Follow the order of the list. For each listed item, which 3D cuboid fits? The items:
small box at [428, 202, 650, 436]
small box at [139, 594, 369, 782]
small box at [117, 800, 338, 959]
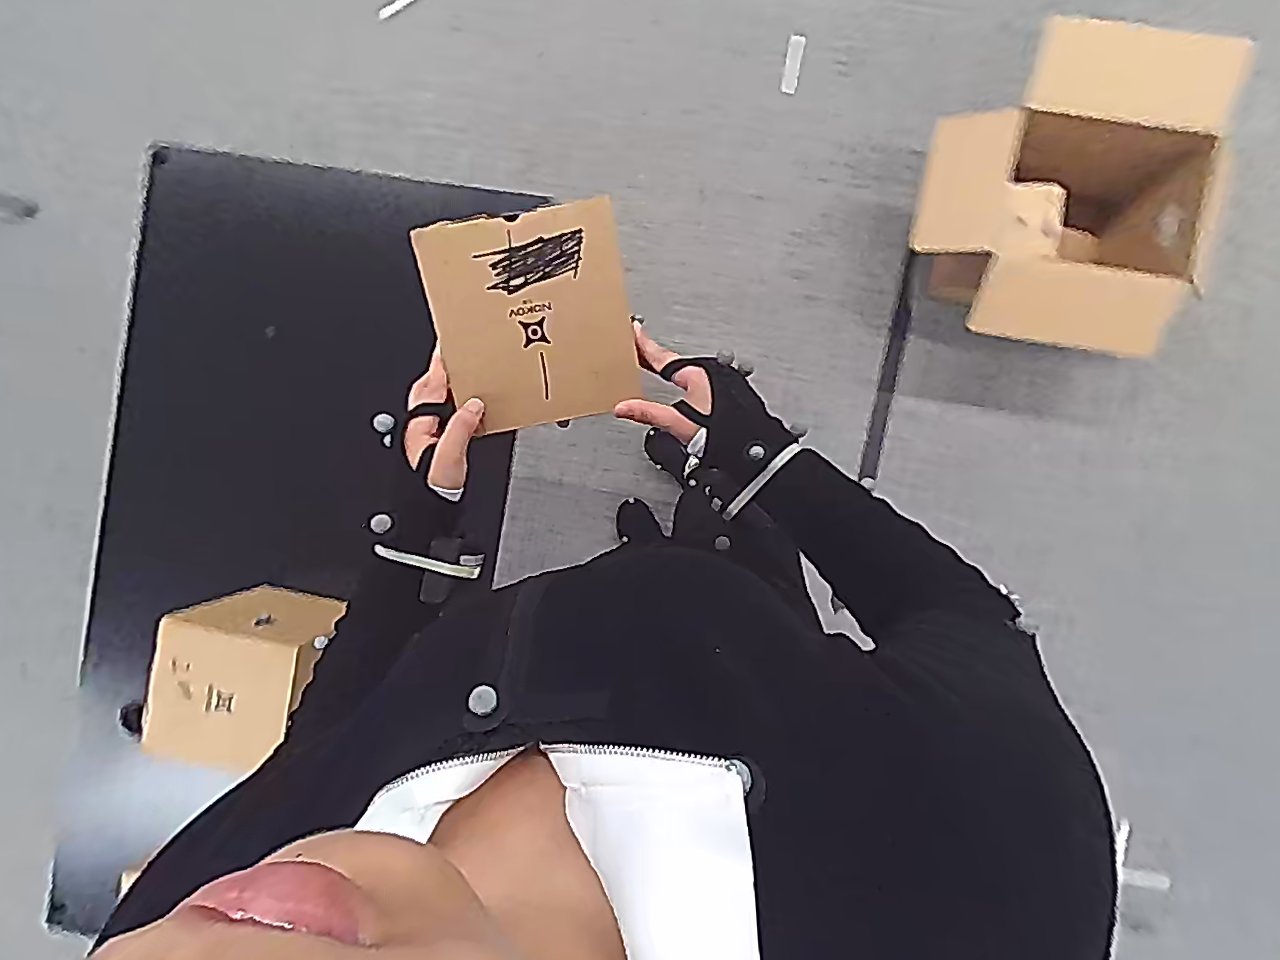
[{"bbox_3d":[-0.086,-0.148,0.536,0.168,0.176,0.179,-9,102,0],"label":"small box"},{"bbox_3d":[-0.492,0.259,0.715,0.179,0.176,0.168,10,92,3],"label":"small box"},{"bbox_3d":[-0.539,0.563,0.727,0.179,0.176,0.168,4,91,4],"label":"small box"}]
